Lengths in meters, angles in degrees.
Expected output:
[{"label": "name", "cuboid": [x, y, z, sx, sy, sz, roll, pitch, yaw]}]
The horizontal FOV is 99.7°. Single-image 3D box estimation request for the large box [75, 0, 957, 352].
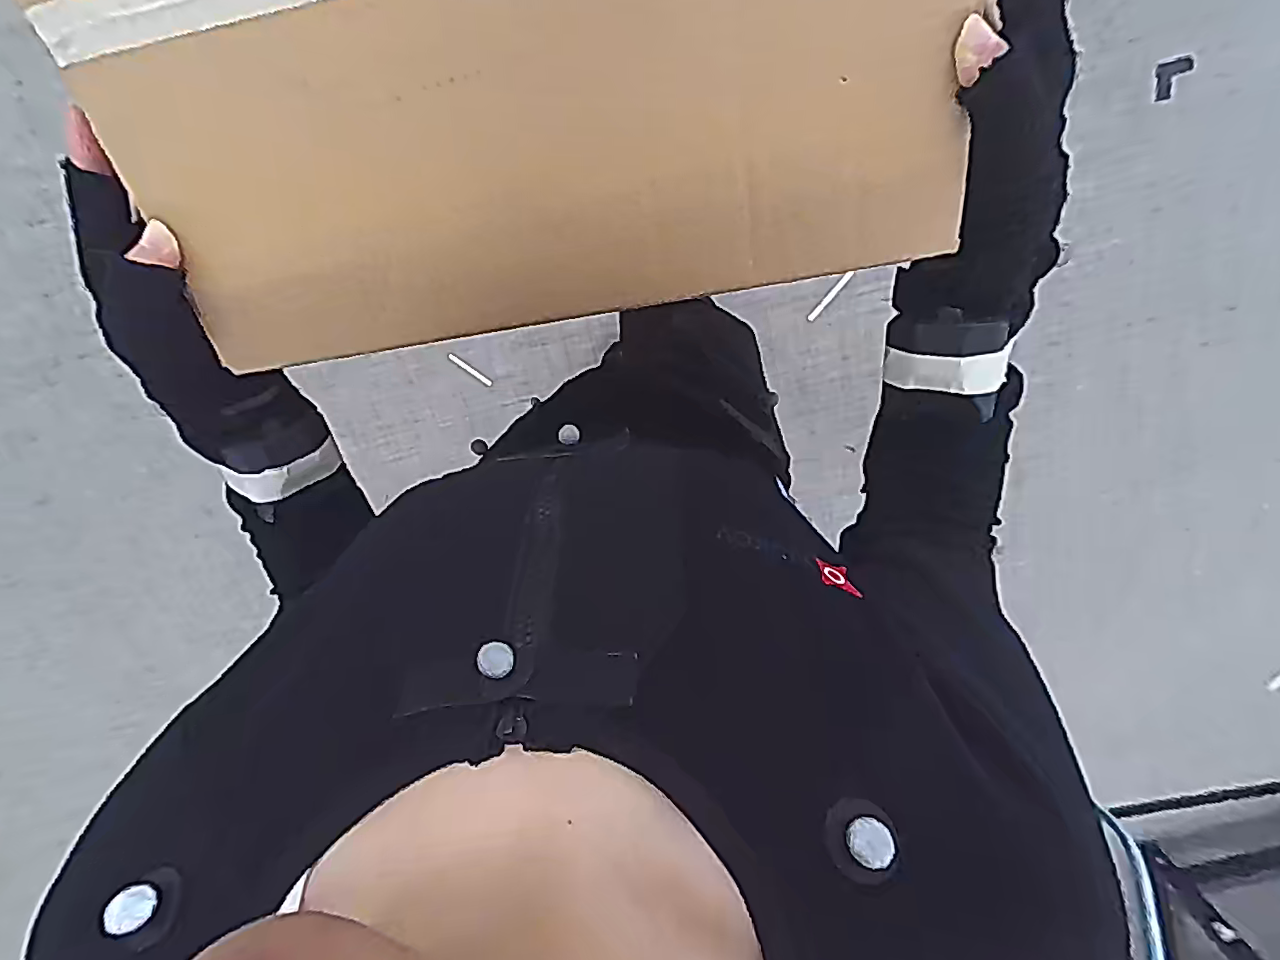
[{"label": "large box", "cuboid": [-0.061, -0.306, 0.365, 0.408, 0.320, 0.320, -8, 118, 6]}]
